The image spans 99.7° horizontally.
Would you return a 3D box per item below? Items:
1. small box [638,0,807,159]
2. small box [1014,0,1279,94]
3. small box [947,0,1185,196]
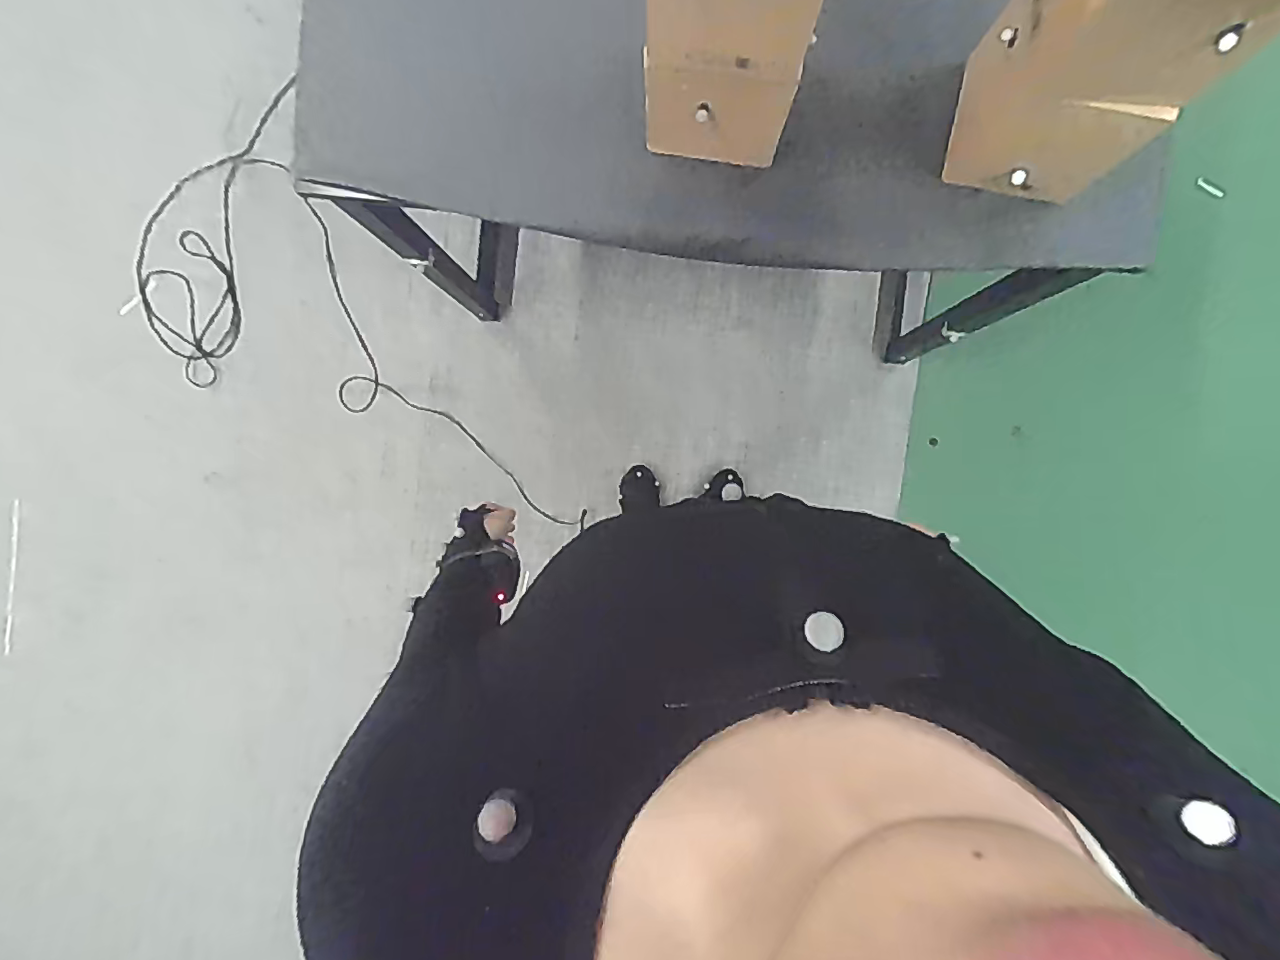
[{"bbox_3d":[0.100,-0.530,0.668,0.179,0.176,0.168,9,90,3],"label":"small box"},{"bbox_3d":[0.482,-0.484,0.484,0.179,0.176,0.168,5,88,4],"label":"small box"},{"bbox_3d":[0.501,-0.480,0.645,0.168,0.176,0.179,13,90,3],"label":"small box"}]
